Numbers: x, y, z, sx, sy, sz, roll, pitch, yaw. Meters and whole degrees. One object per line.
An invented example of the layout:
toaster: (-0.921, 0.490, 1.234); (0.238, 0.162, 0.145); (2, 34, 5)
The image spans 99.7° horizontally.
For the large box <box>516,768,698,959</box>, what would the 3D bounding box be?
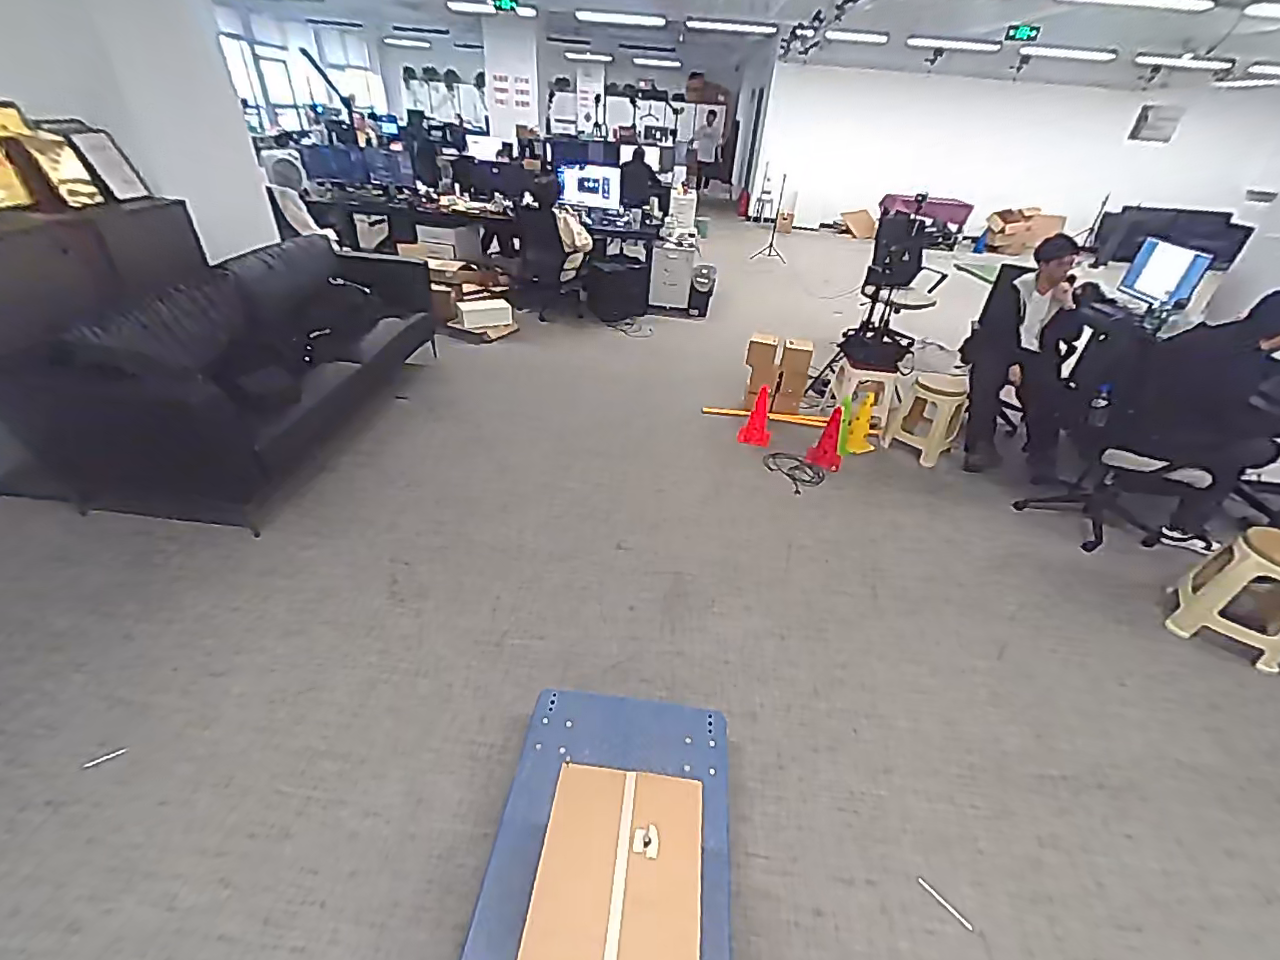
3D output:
large box: (-0.055, 0.884, 1.106); (0.320, 0.320, 0.408); (7, 33, 2)
